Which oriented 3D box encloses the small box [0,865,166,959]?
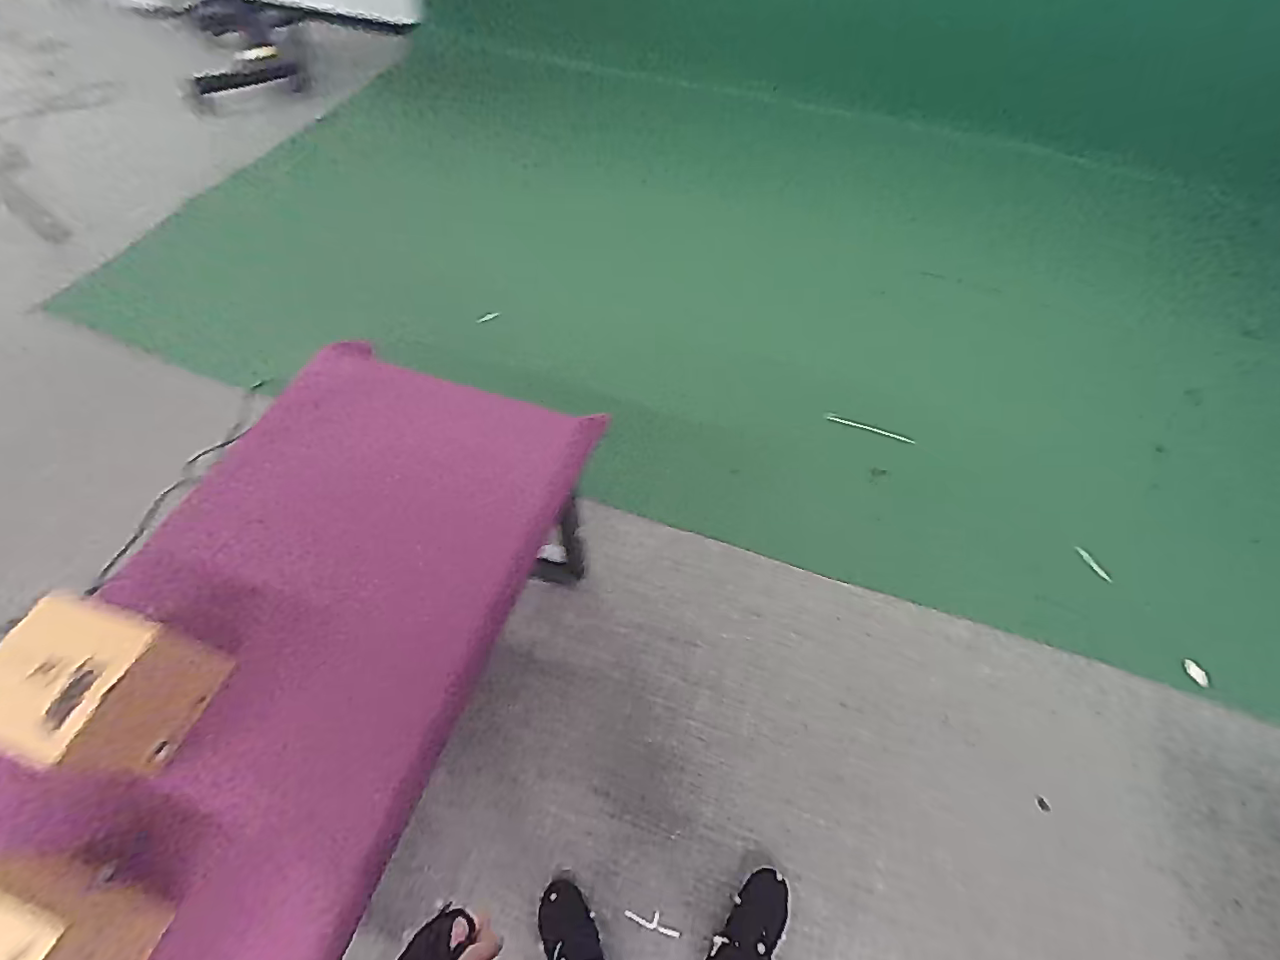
[{"bbox_3d":[-0.674,0.526,0.562,0.179,0.176,0.168,16,59,9],"label":"small box"}]

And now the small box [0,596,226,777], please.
[{"bbox_3d":[-0.719,0.282,0.723,0.179,0.176,0.168,15,57,8],"label":"small box"}]
